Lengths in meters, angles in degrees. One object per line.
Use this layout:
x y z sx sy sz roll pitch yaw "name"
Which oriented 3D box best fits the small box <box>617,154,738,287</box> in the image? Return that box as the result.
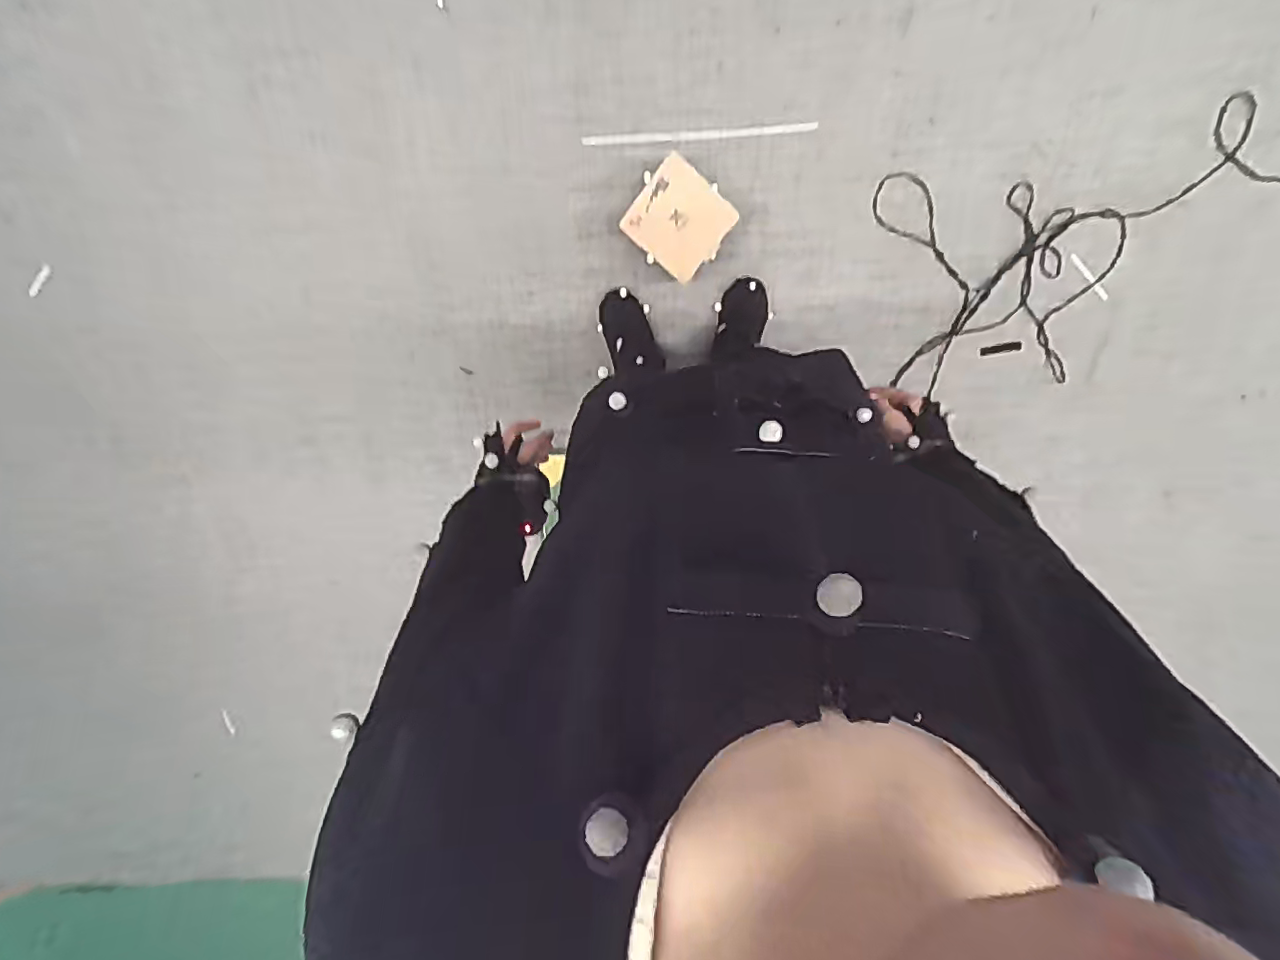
0.075 -0.524 1.102 0.179 0.176 0.168 38 110 -14 "small box"
